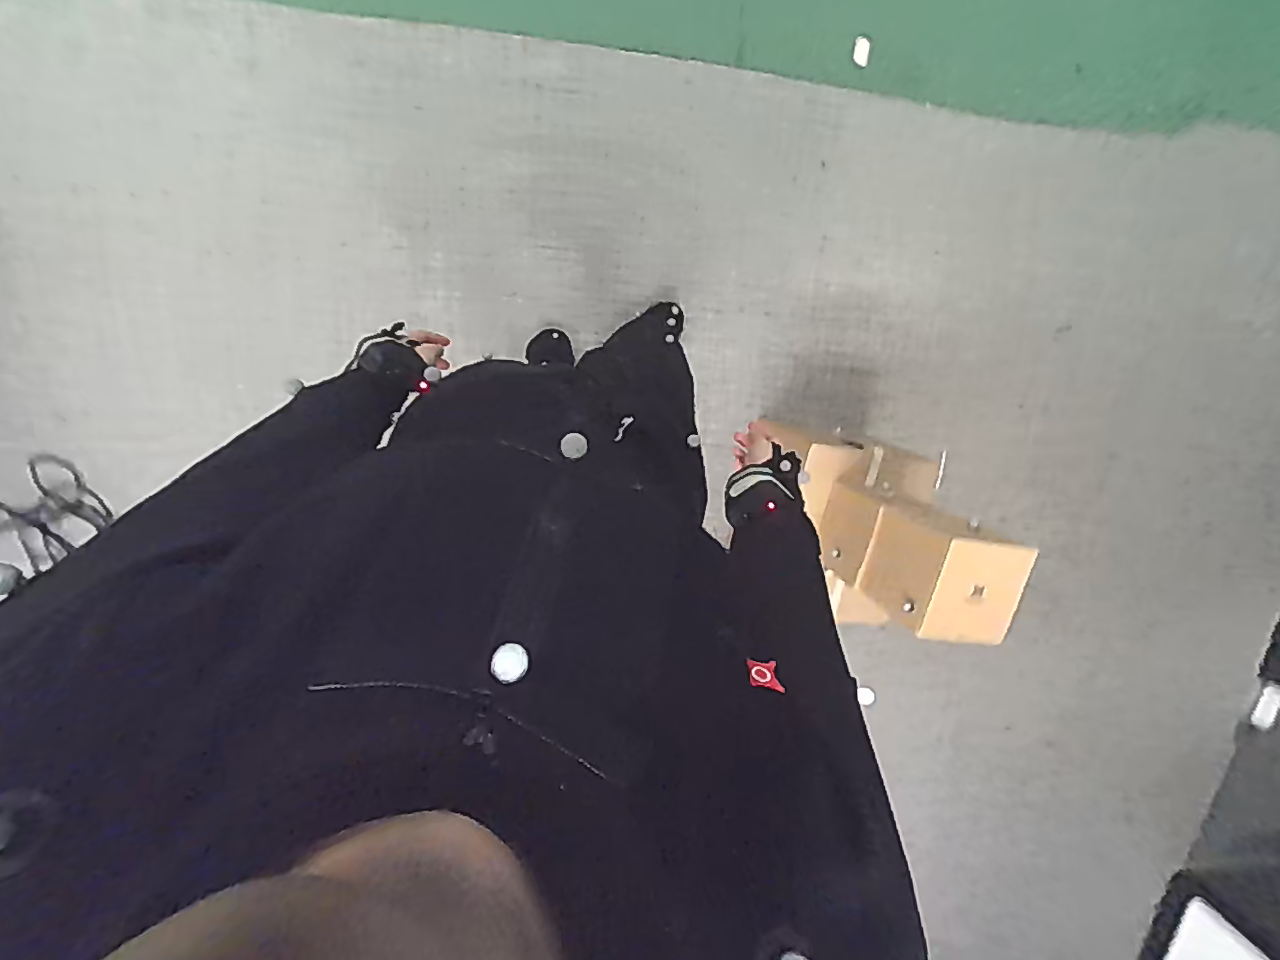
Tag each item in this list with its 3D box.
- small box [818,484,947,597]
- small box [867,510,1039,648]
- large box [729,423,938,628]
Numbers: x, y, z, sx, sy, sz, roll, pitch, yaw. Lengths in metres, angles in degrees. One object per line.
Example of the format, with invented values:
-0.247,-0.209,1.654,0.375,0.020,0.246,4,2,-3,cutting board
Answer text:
0.481,0.123,1.083,0.168,0.176,0.179,8,103,-13,small box
0.522,0.163,0.930,0.168,0.176,0.179,8,105,-13,small box
0.442,0.097,1.325,0.320,0.320,0.408,8,106,-10,large box
